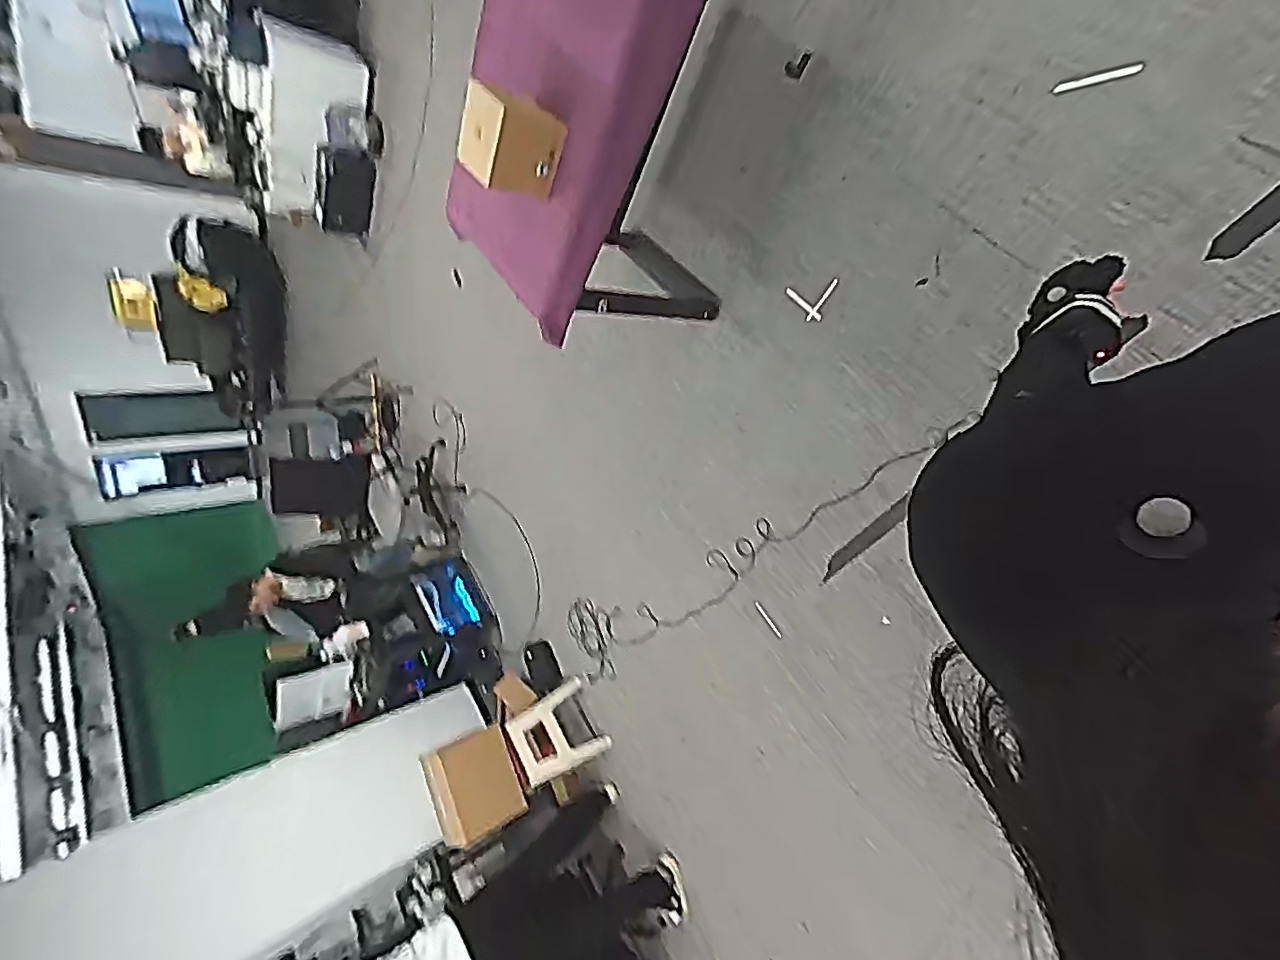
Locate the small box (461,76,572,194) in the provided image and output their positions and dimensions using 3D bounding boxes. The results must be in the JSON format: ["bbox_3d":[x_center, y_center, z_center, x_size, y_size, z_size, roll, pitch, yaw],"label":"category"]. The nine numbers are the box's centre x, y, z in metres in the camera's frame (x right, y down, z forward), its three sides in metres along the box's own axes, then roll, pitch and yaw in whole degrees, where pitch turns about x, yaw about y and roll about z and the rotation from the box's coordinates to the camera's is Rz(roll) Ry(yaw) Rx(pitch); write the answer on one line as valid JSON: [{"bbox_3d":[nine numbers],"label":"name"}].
[{"bbox_3d":[-0.286,-0.786,1.247,0.179,0.176,0.168,50,132,27],"label":"small box"}]
